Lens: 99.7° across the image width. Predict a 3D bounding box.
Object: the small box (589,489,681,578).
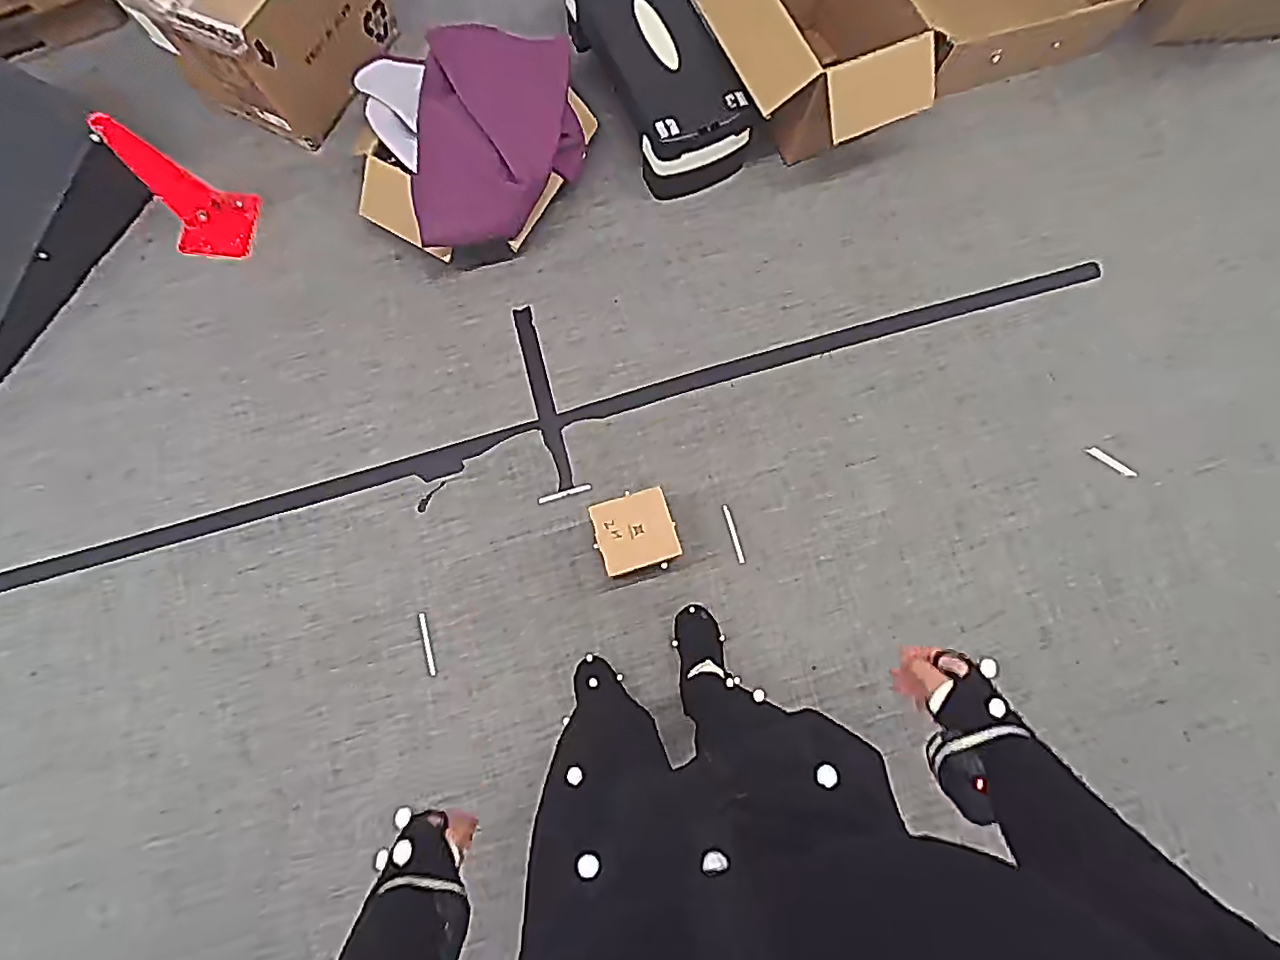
[{"bbox_3d":[-0.014,0.131,1.294,0.179,0.176,0.168,-16,80,-4],"label":"small box"}]
